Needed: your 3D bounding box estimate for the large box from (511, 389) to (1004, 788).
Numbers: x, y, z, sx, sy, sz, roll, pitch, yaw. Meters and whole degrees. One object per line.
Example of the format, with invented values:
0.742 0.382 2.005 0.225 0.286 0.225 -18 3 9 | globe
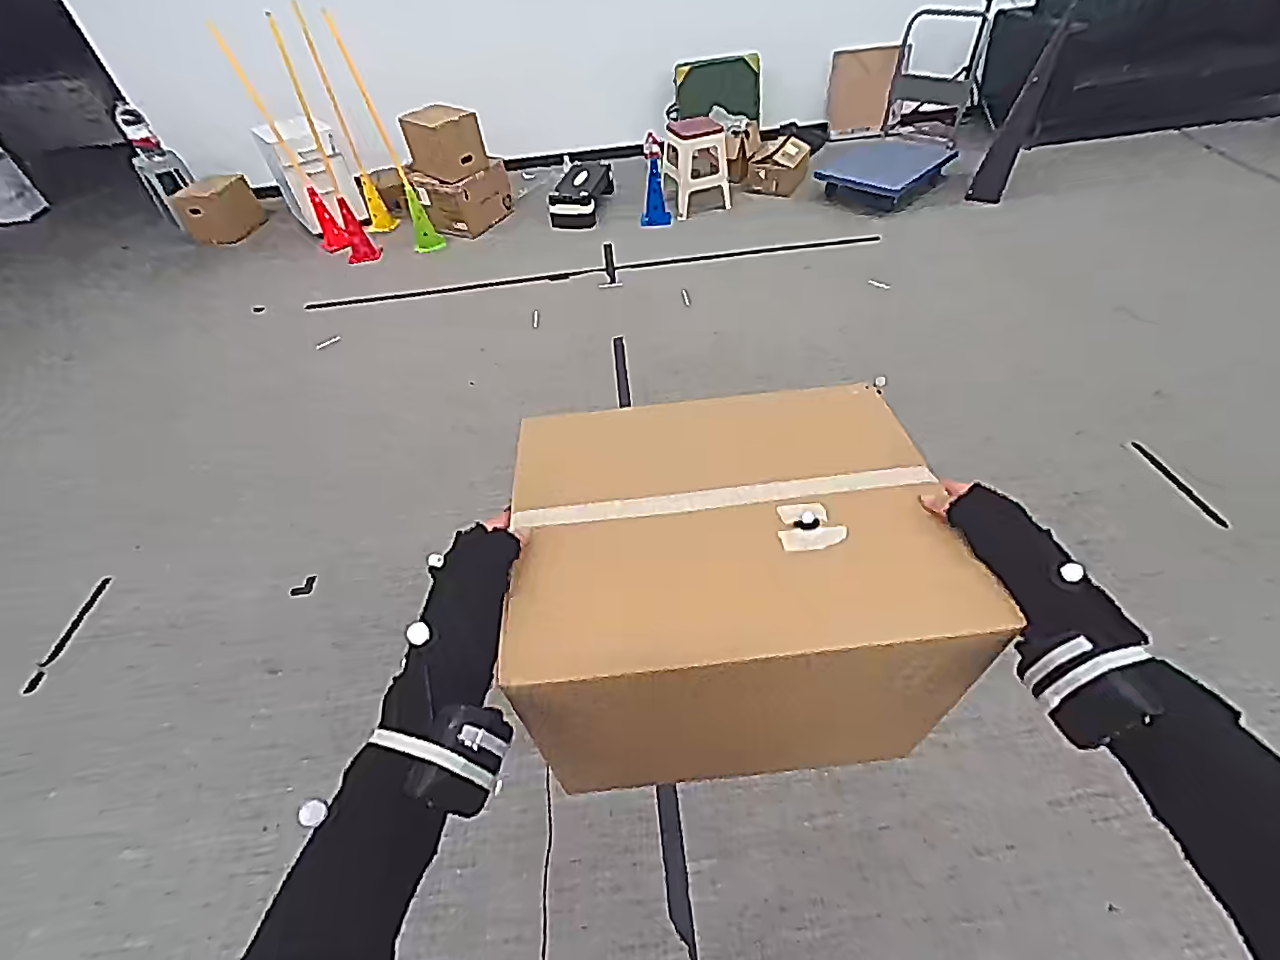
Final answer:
0.089 0.127 0.631 0.408 0.320 0.320 -6 46 -1 | large box
